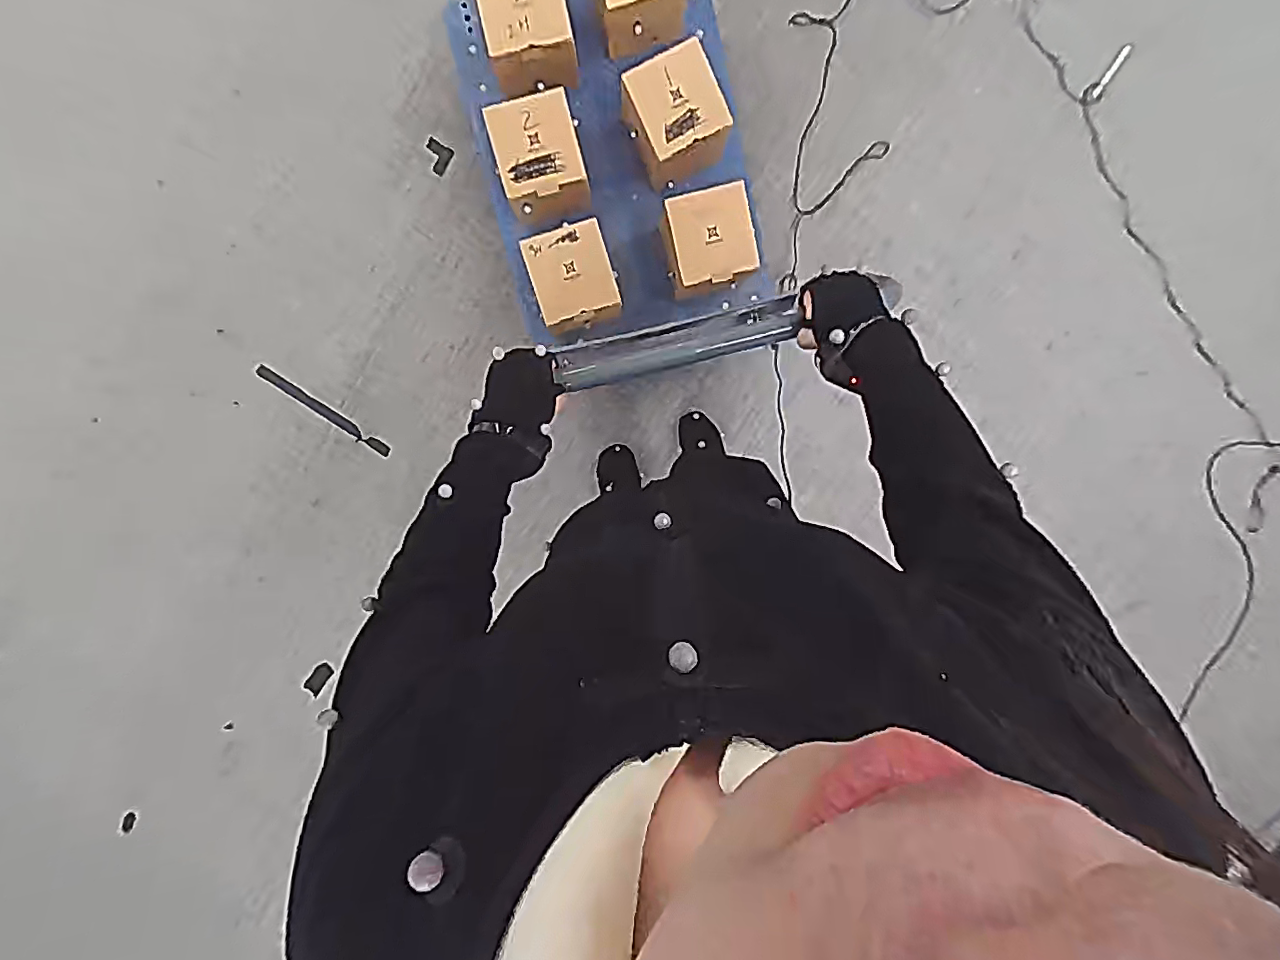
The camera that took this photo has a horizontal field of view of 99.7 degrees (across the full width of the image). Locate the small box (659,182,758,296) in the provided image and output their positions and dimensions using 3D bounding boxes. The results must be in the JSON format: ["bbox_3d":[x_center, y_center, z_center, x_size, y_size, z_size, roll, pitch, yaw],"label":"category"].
[{"bbox_3d":[0.143,-0.510,1.176,0.168,0.176,0.179,-14,98,-1],"label":"small box"}]

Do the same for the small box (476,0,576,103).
[{"bbox_3d":[-0.232,-0.918,1.100,0.168,0.176,0.179,-13,99,0],"label":"small box"}]

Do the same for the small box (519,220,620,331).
[{"bbox_3d":[-0.145,-0.431,1.175,0.168,0.176,0.179,-18,99,-1],"label":"small box"}]

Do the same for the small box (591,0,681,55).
[{"bbox_3d":[-0.016,-1.011,1.097,0.168,0.176,0.179,-17,98,1],"label":"small box"}]

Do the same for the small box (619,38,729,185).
[{"bbox_3d":[0.067,-0.754,1.136,0.168,0.176,0.179,-27,97,2],"label":"small box"}]
